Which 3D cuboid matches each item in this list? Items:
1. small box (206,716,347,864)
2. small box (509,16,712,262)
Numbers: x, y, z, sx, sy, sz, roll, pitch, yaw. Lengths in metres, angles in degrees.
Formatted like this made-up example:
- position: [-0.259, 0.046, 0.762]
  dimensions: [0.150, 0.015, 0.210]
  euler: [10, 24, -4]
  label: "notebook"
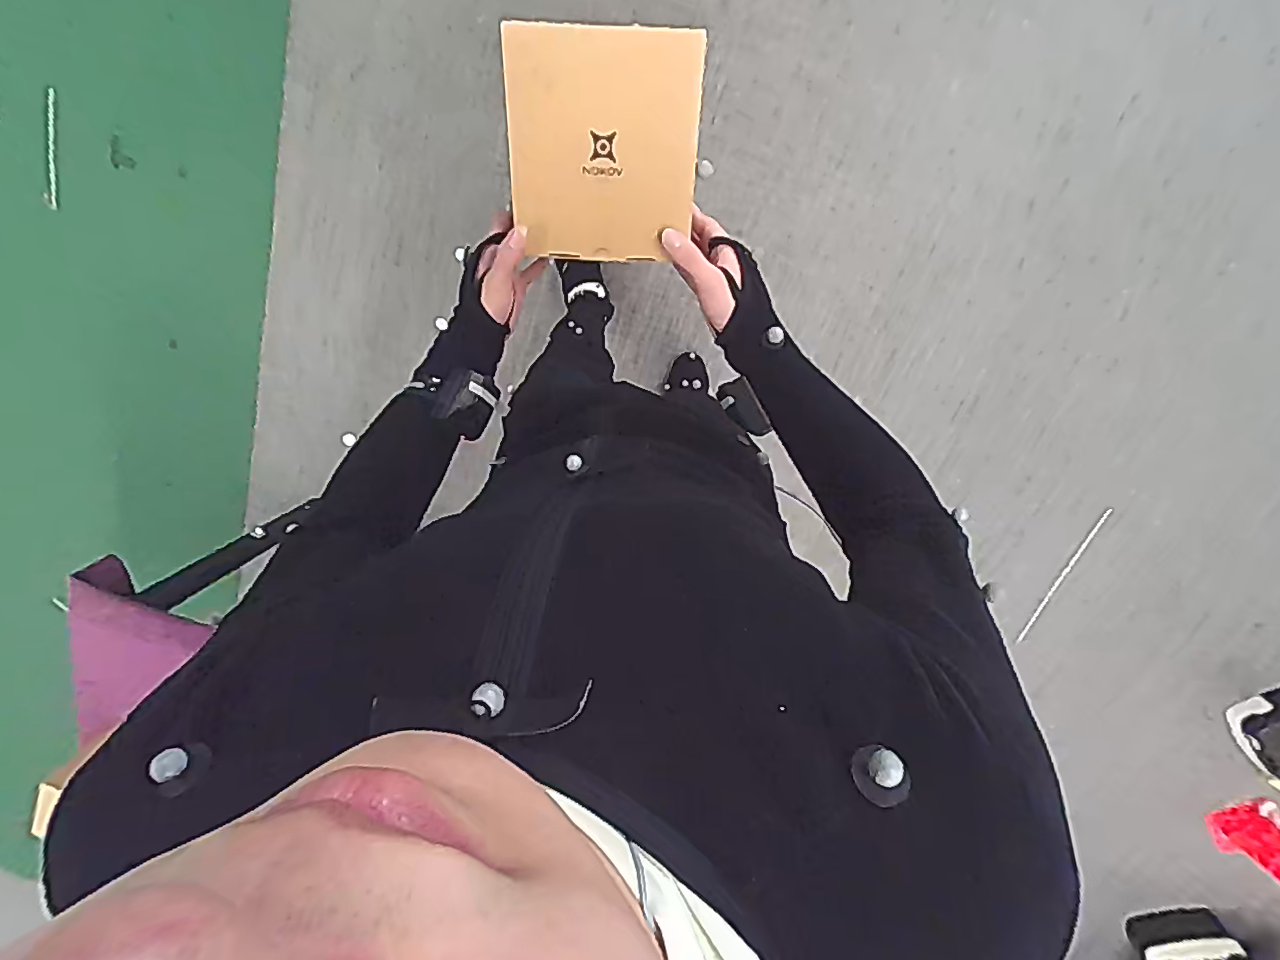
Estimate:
- position: [-0.714, 0.614, 1.083]
  dimensions: [0.168, 0.176, 0.179]
  euler: [11, 111, 2]
  label: "small box"
- position: [-0.028, -0.327, 0.539]
  dimensions: [0.168, 0.176, 0.179]
  euler: [3, 121, 0]
  label: "small box"
